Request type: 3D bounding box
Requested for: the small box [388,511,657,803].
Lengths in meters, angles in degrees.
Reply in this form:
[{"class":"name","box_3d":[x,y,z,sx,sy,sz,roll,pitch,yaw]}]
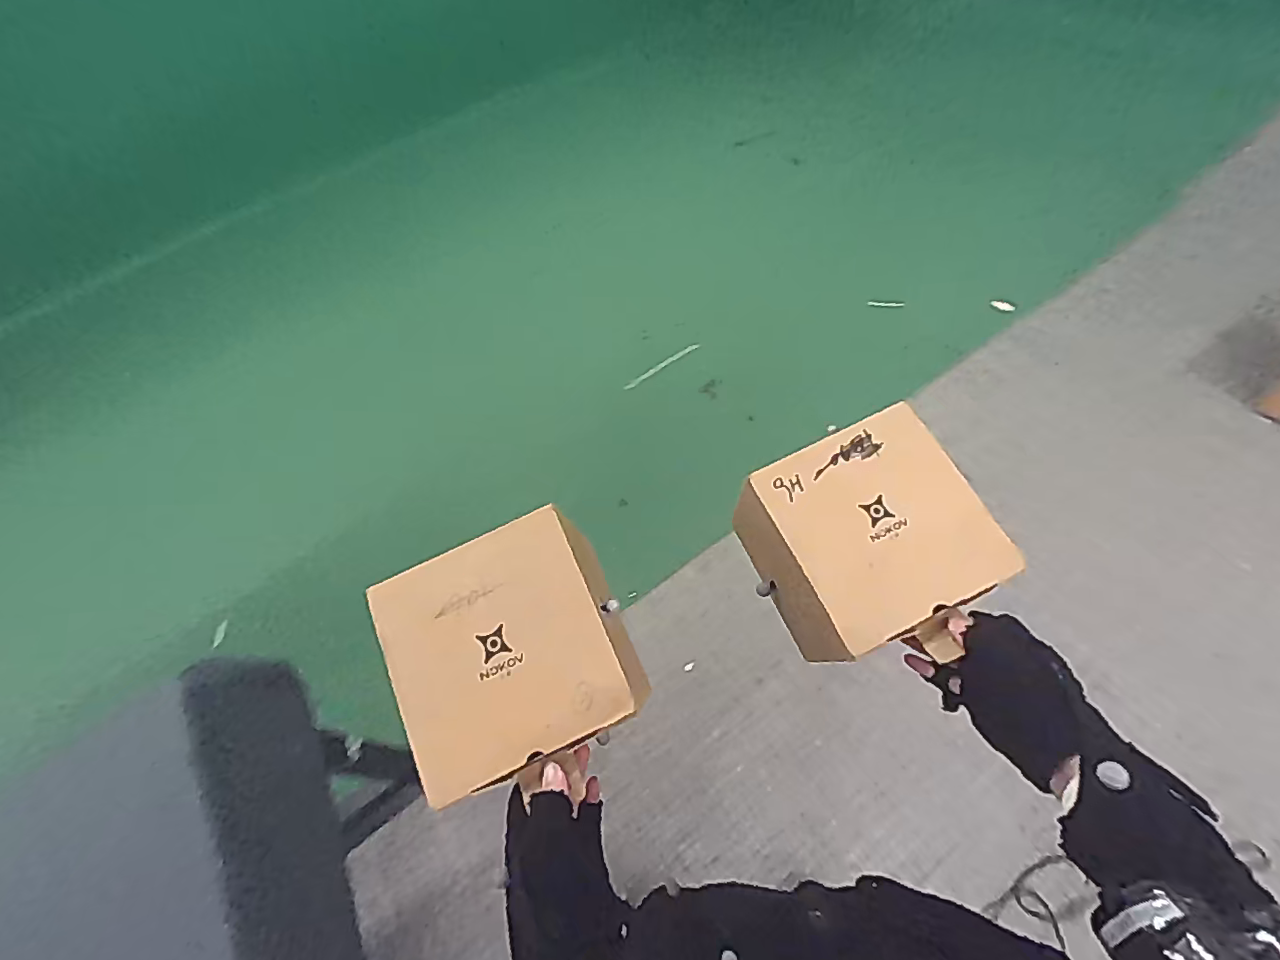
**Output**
[{"class":"small box","box_3d":[-0.093,0.154,0.501,0.168,0.176,0.179,-26,72,-2]}]
